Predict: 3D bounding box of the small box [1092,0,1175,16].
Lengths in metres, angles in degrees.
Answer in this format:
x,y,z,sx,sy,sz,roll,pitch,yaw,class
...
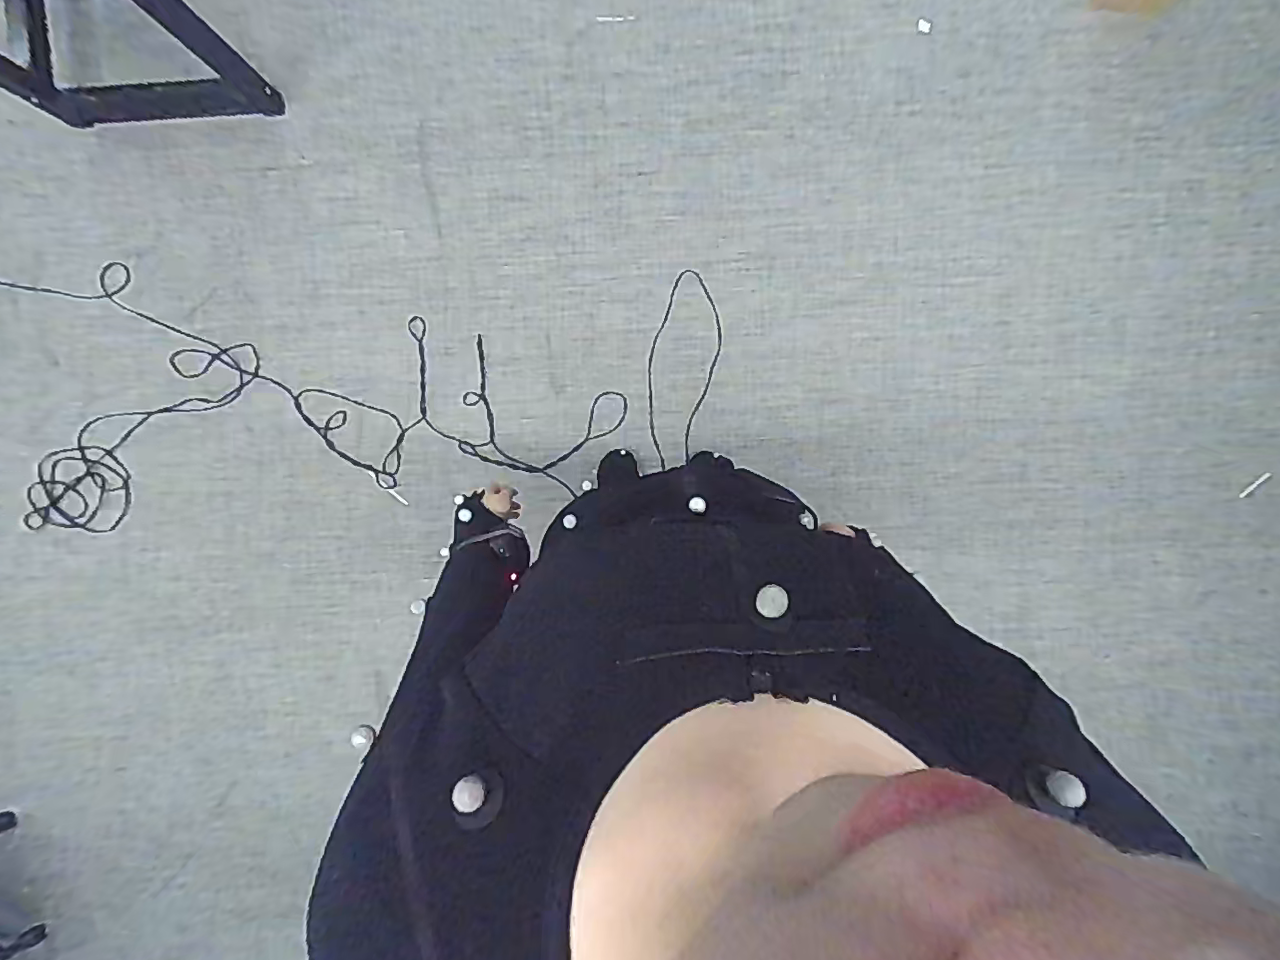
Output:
x,y,z,sx,sy,sz,roll,pitch,yaw,class
1.266,-1.282,1.314,0.179,0.176,0.168,8,93,0,small box
